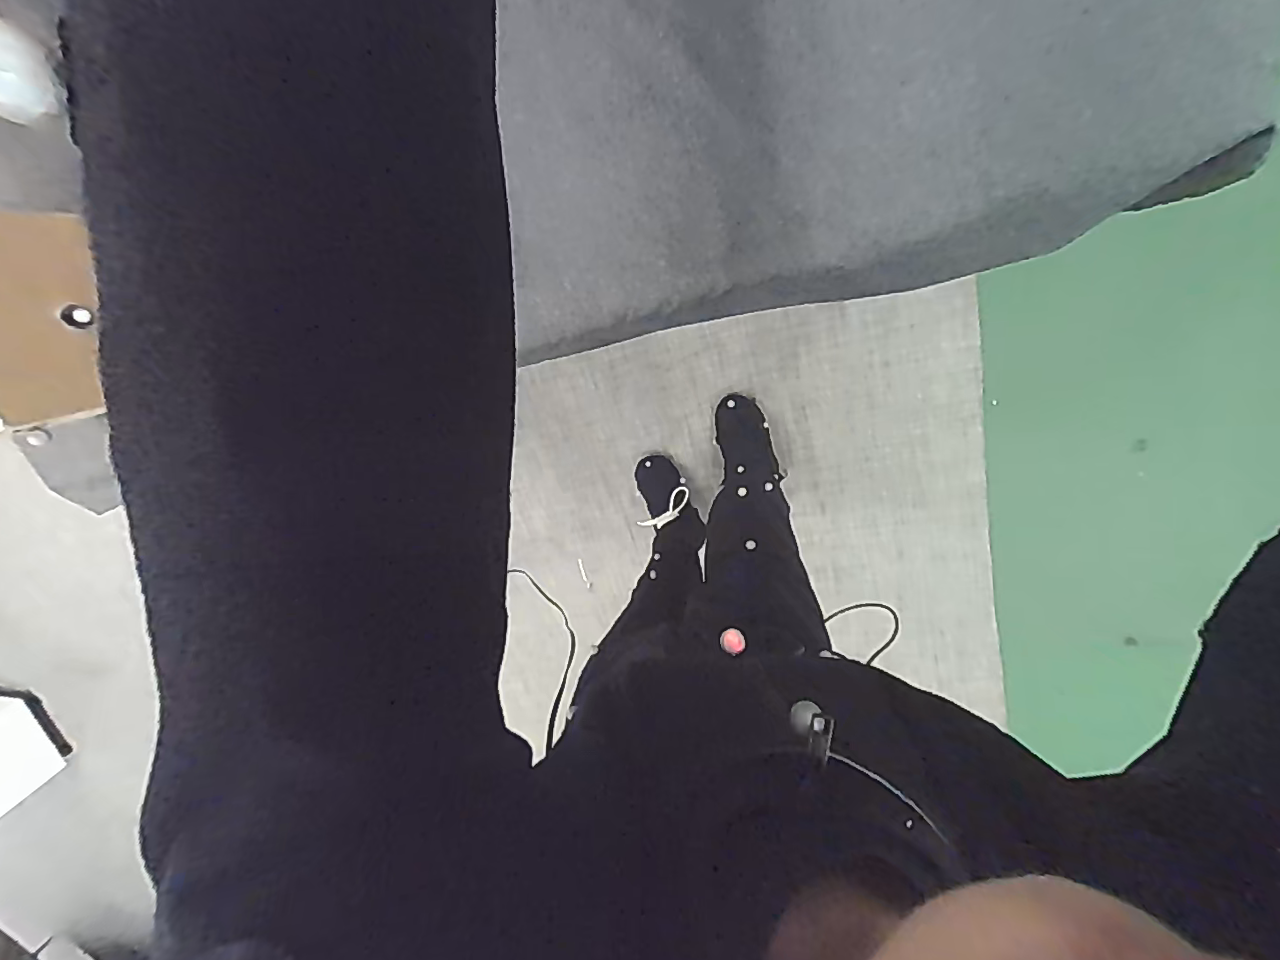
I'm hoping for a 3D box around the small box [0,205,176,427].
[{"bbox_3d":[-0.571,-0.138,0.479,0.179,0.176,0.168,-9,110,15],"label":"small box"}]
